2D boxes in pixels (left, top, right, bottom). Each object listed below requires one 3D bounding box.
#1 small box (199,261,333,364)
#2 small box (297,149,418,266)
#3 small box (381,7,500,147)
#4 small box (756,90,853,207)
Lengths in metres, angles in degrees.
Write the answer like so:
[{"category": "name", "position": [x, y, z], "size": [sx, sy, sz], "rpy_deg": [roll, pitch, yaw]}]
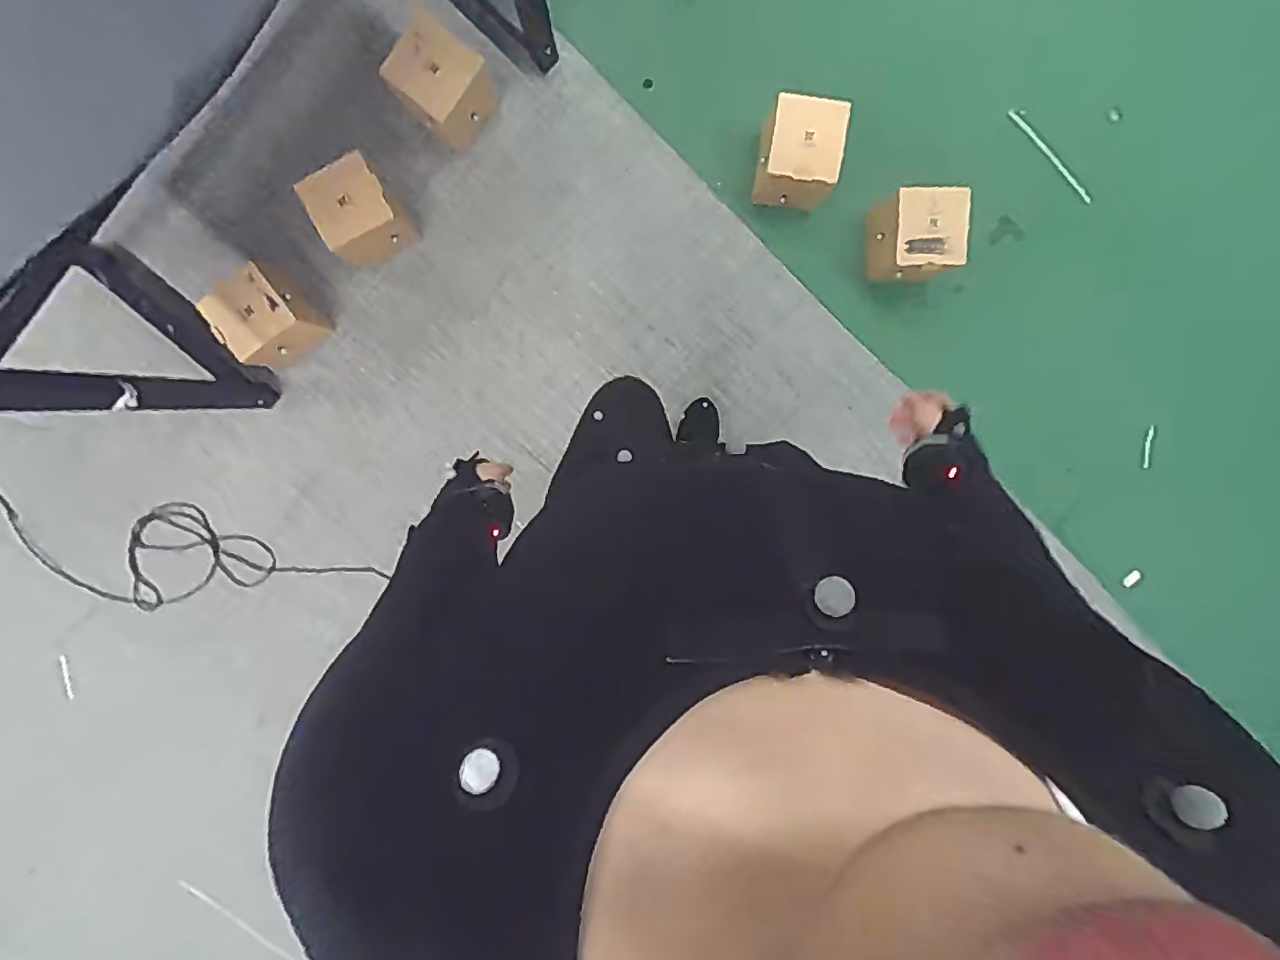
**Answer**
[{"category": "small box", "position": [-0.911, -0.403, 1.336], "size": [0.179, 0.176, 0.168], "rpy_deg": [-35, 97, 5]}, {"category": "small box", "position": [-0.665, -0.646, 1.303], "size": [0.179, 0.176, 0.168], "rpy_deg": [-27, 97, 5]}, {"category": "small box", "position": [-0.455, -0.922, 1.264], "size": [0.179, 0.176, 0.168], "rpy_deg": [37, 95, -5]}, {"category": "small box", "position": [0.384, -0.783, 1.292], "size": [0.168, 0.176, 0.179], "rpy_deg": [7, 99, -2]}]
